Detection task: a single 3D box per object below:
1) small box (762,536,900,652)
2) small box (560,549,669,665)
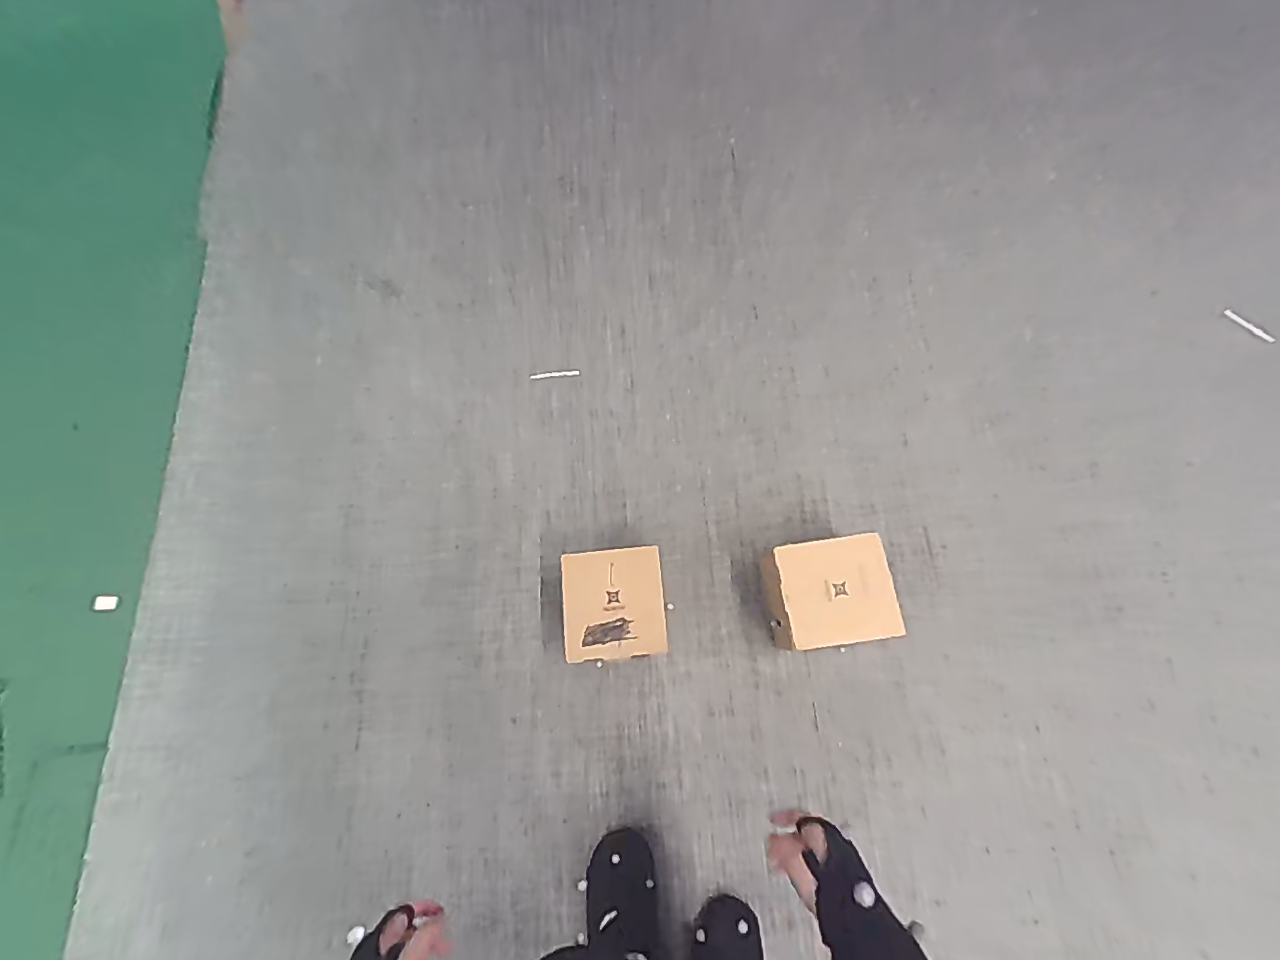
[{"bbox_3d":[0.313,0.202,0.931,0.179,0.176,0.168,-9,74,3],"label":"small box"},{"bbox_3d":[-0.040,0.226,0.956,0.168,0.176,0.179,-6,72,3],"label":"small box"}]
